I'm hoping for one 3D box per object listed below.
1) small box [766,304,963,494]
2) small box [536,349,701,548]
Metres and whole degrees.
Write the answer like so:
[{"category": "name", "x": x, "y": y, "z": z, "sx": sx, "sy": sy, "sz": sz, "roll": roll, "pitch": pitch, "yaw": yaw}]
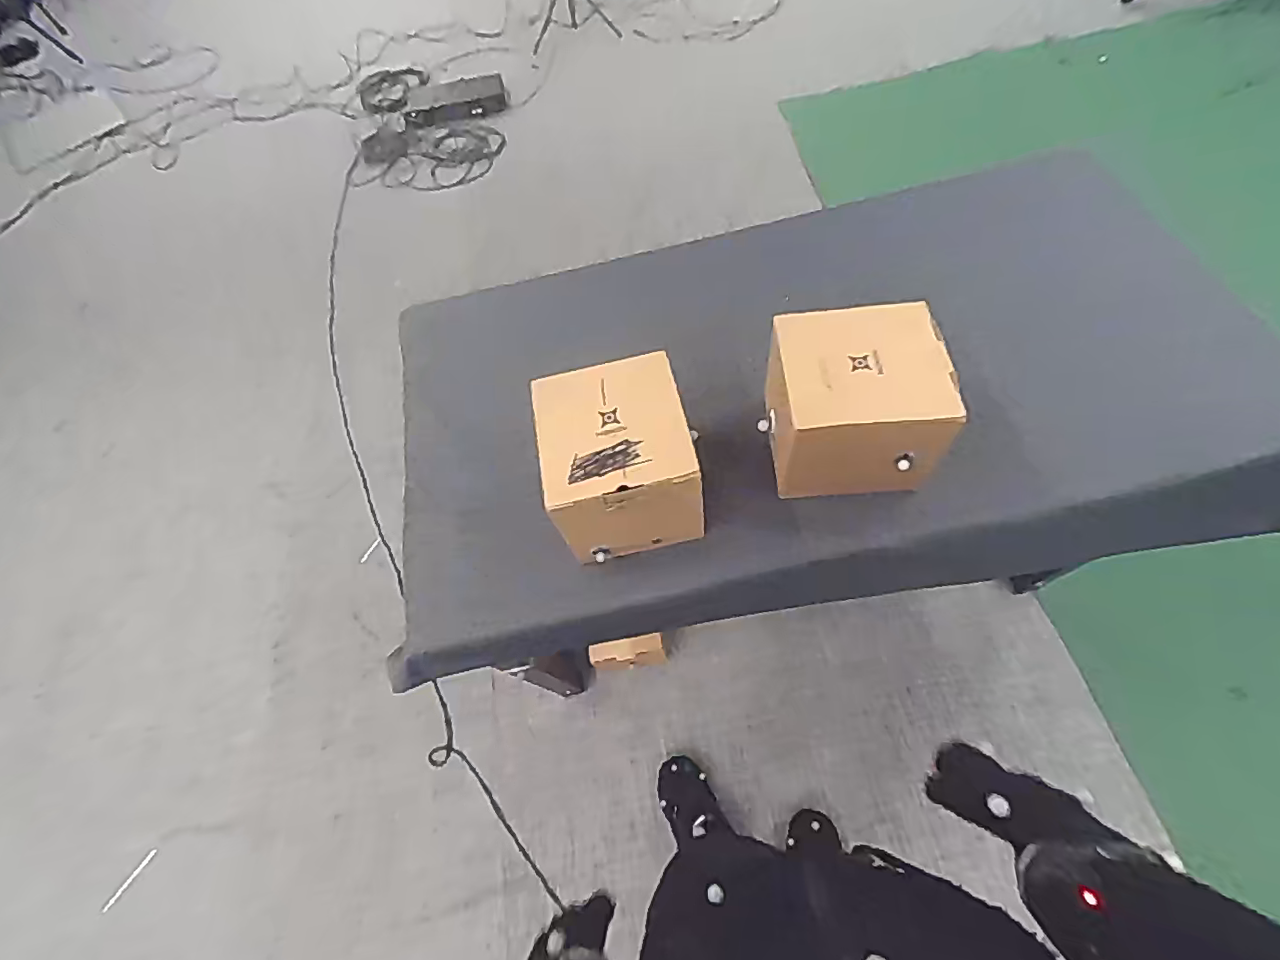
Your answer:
[{"category": "small box", "x": 0.259, "y": -0.092, "z": 0.671, "sx": 0.179, "sy": 0.176, "sz": 0.168, "roll": -3, "pitch": 62, "yaw": 7}, {"category": "small box", "x": -0.021, "y": -0.028, "z": 0.671, "sx": 0.168, "sy": 0.176, "sz": 0.179, "roll": -12, "pitch": 61, "yaw": 1}]
